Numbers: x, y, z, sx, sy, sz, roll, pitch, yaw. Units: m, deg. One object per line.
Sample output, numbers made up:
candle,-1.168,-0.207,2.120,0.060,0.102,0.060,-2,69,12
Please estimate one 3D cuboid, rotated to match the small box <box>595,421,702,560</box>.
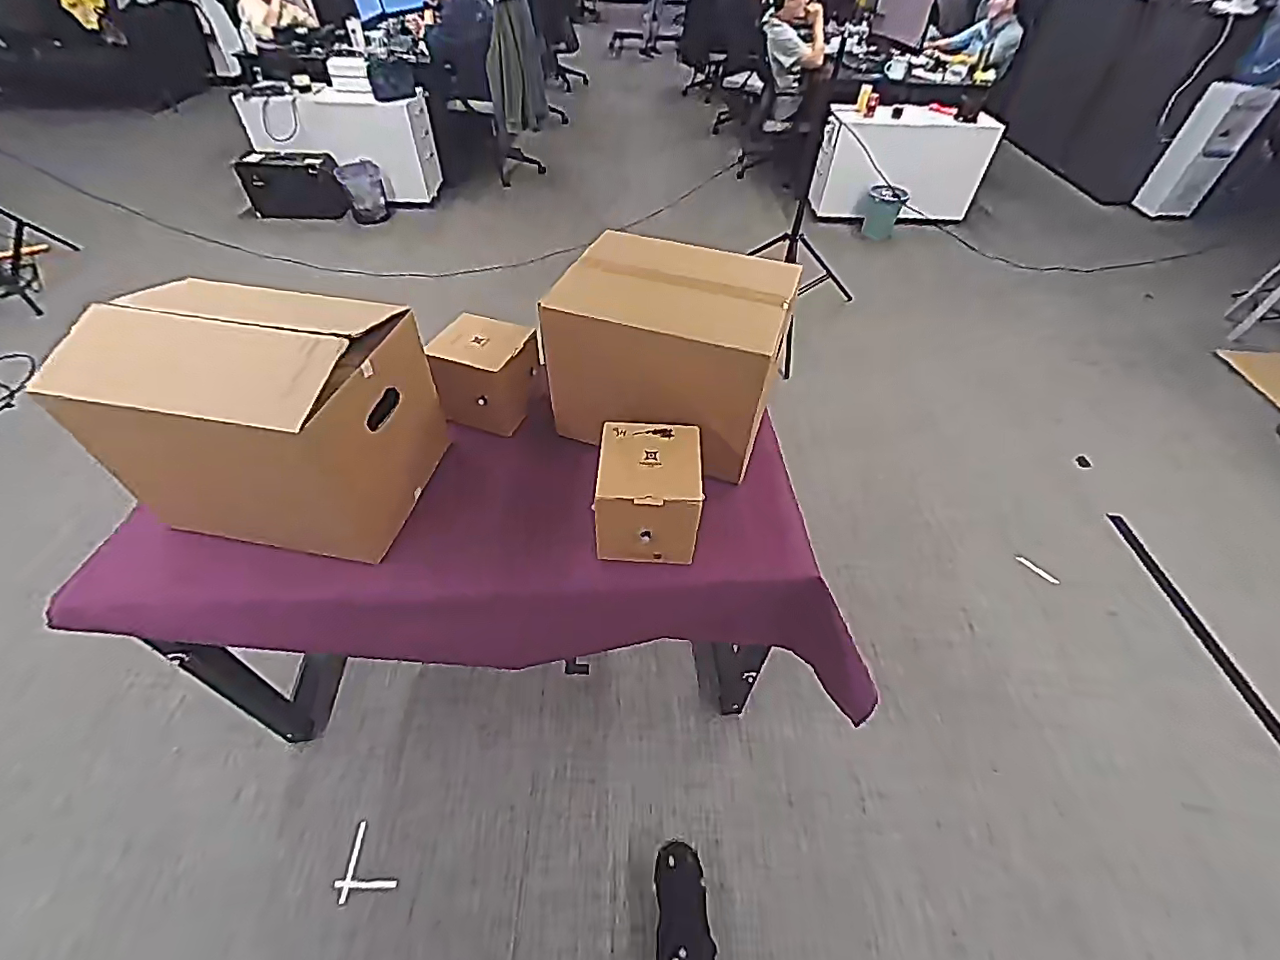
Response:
small box,0.017,0.021,0.929,0.168,0.176,0.179,3,47,1
